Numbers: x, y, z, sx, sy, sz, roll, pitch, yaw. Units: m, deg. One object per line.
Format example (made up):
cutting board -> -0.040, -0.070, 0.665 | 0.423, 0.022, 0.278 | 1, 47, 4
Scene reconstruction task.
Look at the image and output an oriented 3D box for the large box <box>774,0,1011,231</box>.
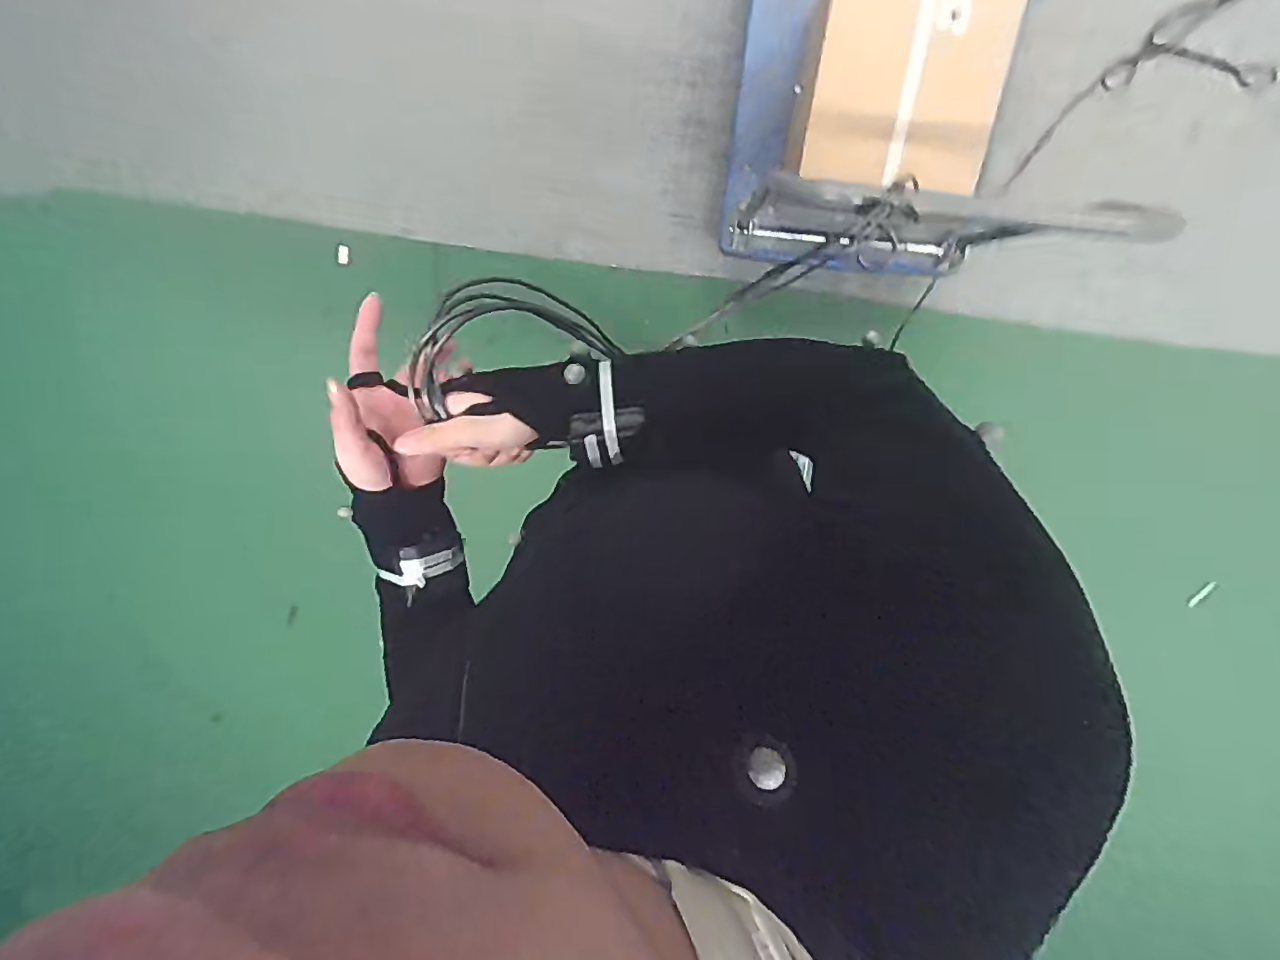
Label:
large box -> 0.472, -0.754, 1.086 | 0.320, 0.320, 0.408 | 8, 105, 2
